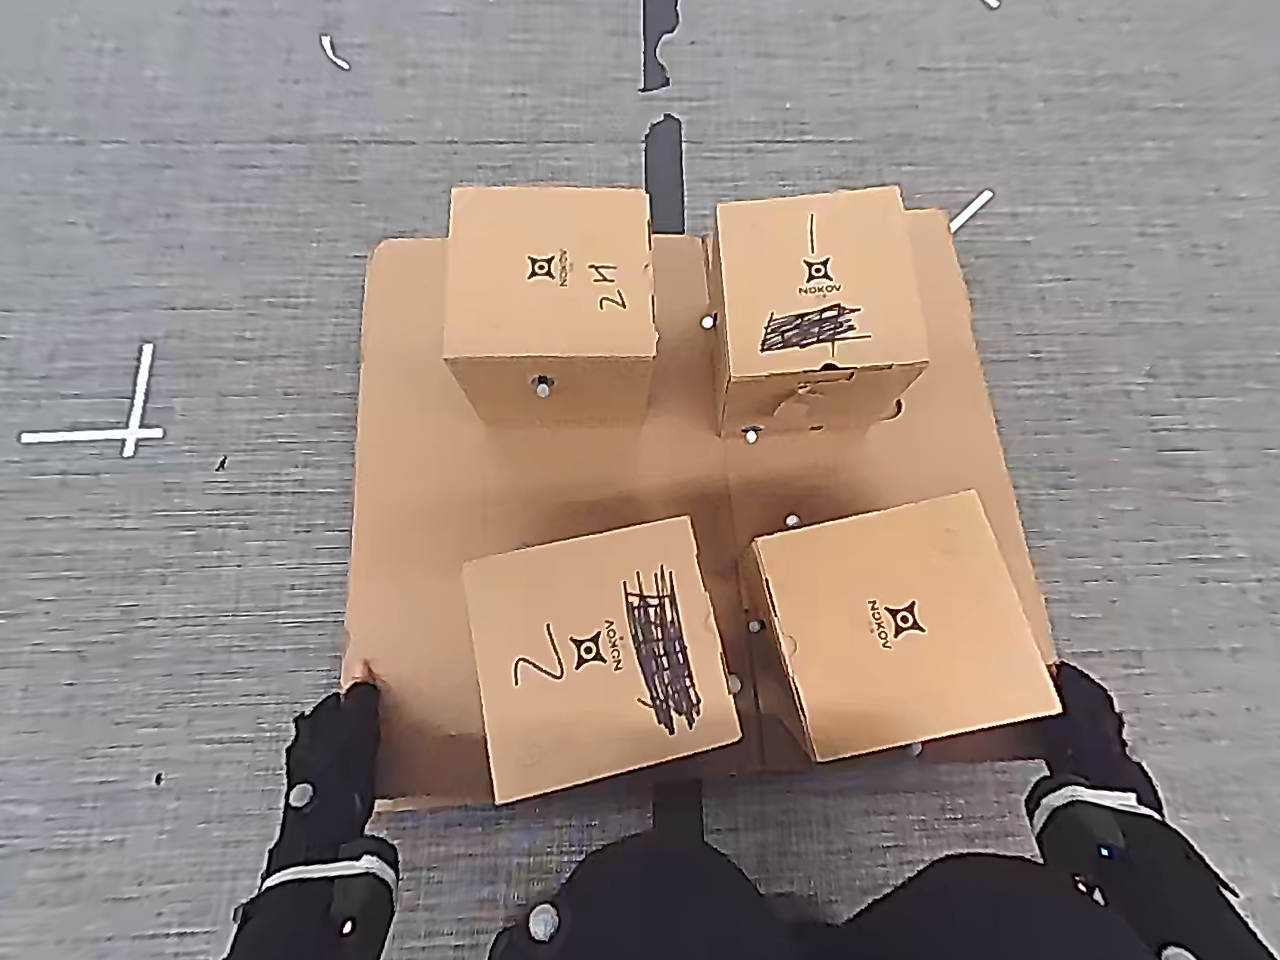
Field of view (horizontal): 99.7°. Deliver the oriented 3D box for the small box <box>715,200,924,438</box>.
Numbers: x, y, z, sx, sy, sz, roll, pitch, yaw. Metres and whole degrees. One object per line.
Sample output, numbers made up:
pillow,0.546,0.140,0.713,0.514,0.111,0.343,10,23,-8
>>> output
small box,0.165,-0.147,0.556,0.168,0.176,0.179,-3,75,5
